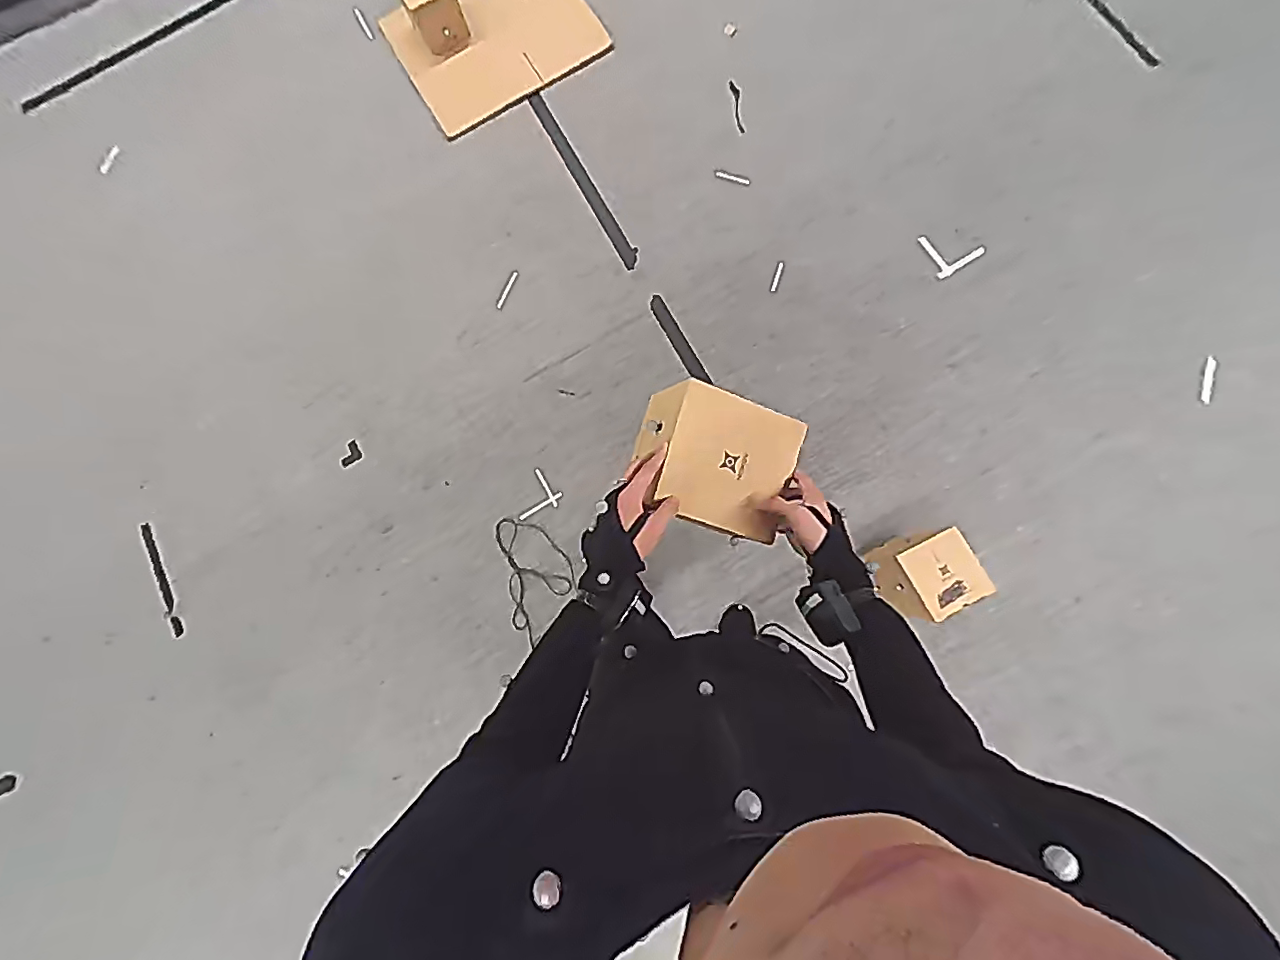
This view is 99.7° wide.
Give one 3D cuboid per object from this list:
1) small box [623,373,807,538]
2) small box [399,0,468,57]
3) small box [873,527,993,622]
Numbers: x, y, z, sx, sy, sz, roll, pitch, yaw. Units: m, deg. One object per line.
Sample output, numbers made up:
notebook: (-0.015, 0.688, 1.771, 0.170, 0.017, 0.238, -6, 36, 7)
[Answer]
small box: (0.091, -0.029, 0.747, 0.179, 0.176, 0.168, 19, 87, -16)
small box: (-0.748, -1.682, 1.935, 0.168, 0.176, 0.179, -31, 80, -1)
small box: (0.722, 0.234, 1.353, 0.168, 0.176, 0.179, -28, 79, -2)
